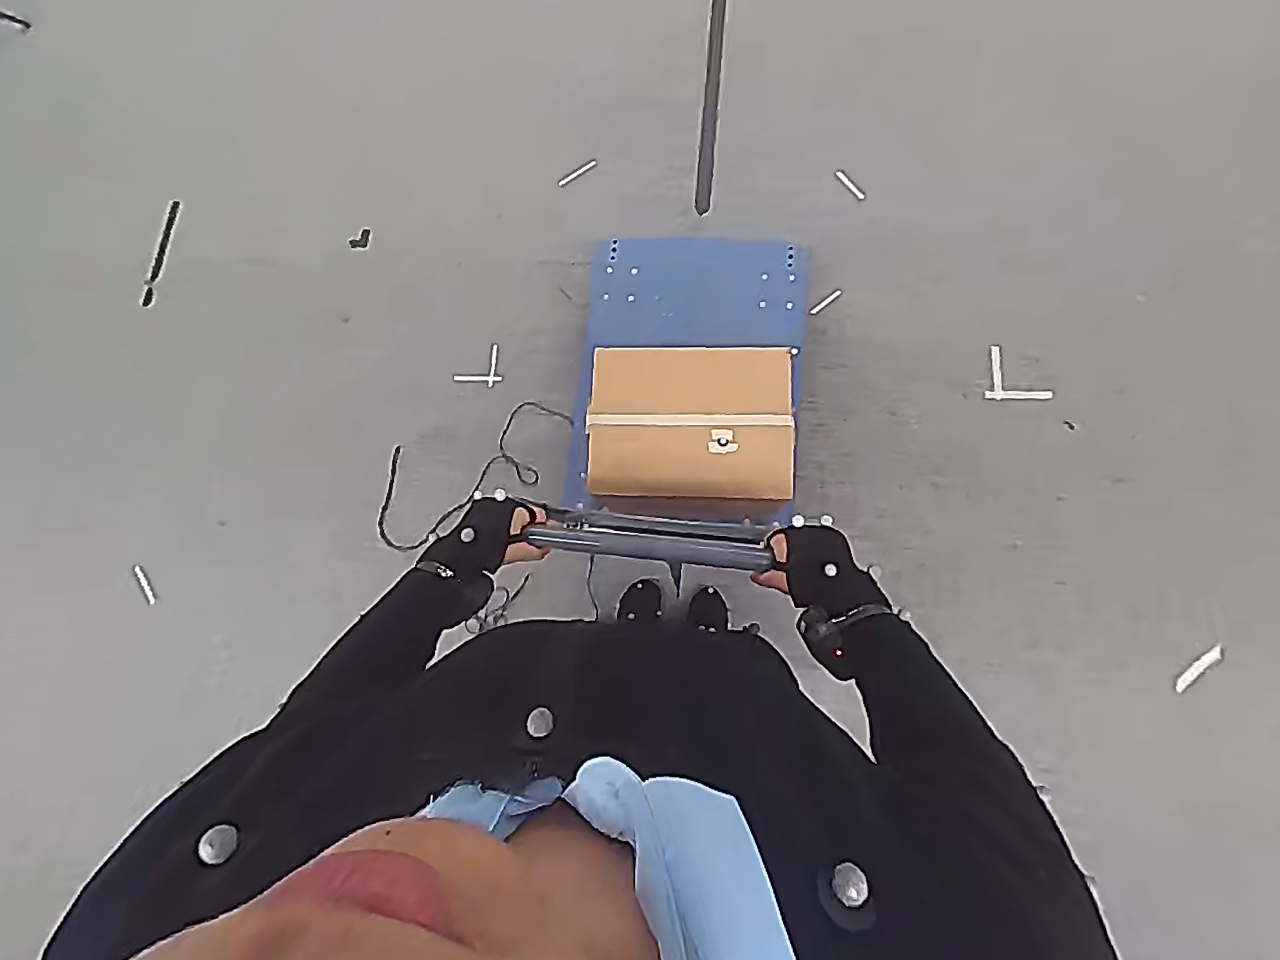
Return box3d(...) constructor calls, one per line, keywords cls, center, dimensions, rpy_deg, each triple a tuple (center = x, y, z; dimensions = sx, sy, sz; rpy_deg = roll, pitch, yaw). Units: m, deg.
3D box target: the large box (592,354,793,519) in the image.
box3d(cls="large box", center=(0.113, -0.082, 1.237), dimensions=(0.408, 0.320, 0.320), rpy_deg=(1, 80, 5))
